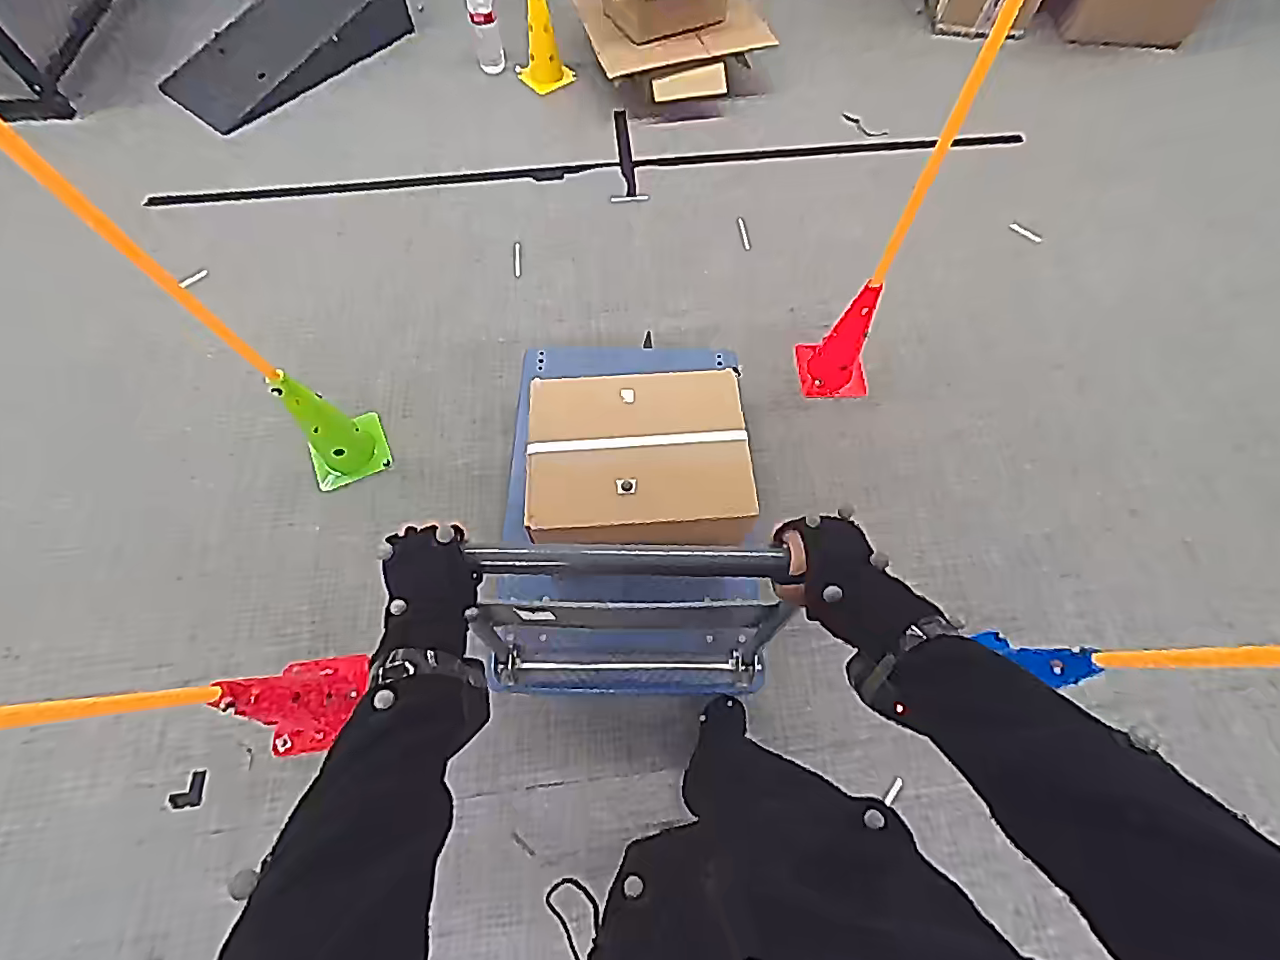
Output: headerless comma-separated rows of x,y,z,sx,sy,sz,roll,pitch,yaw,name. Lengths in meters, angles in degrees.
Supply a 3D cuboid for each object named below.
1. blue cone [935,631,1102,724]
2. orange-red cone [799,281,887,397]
0.821,0.395,1.140,0.193,0.380,0.192,-9,64,-5,blue cone
0.596,-0.409,1.503,0.199,0.360,0.198,1,65,-1,orange-red cone
